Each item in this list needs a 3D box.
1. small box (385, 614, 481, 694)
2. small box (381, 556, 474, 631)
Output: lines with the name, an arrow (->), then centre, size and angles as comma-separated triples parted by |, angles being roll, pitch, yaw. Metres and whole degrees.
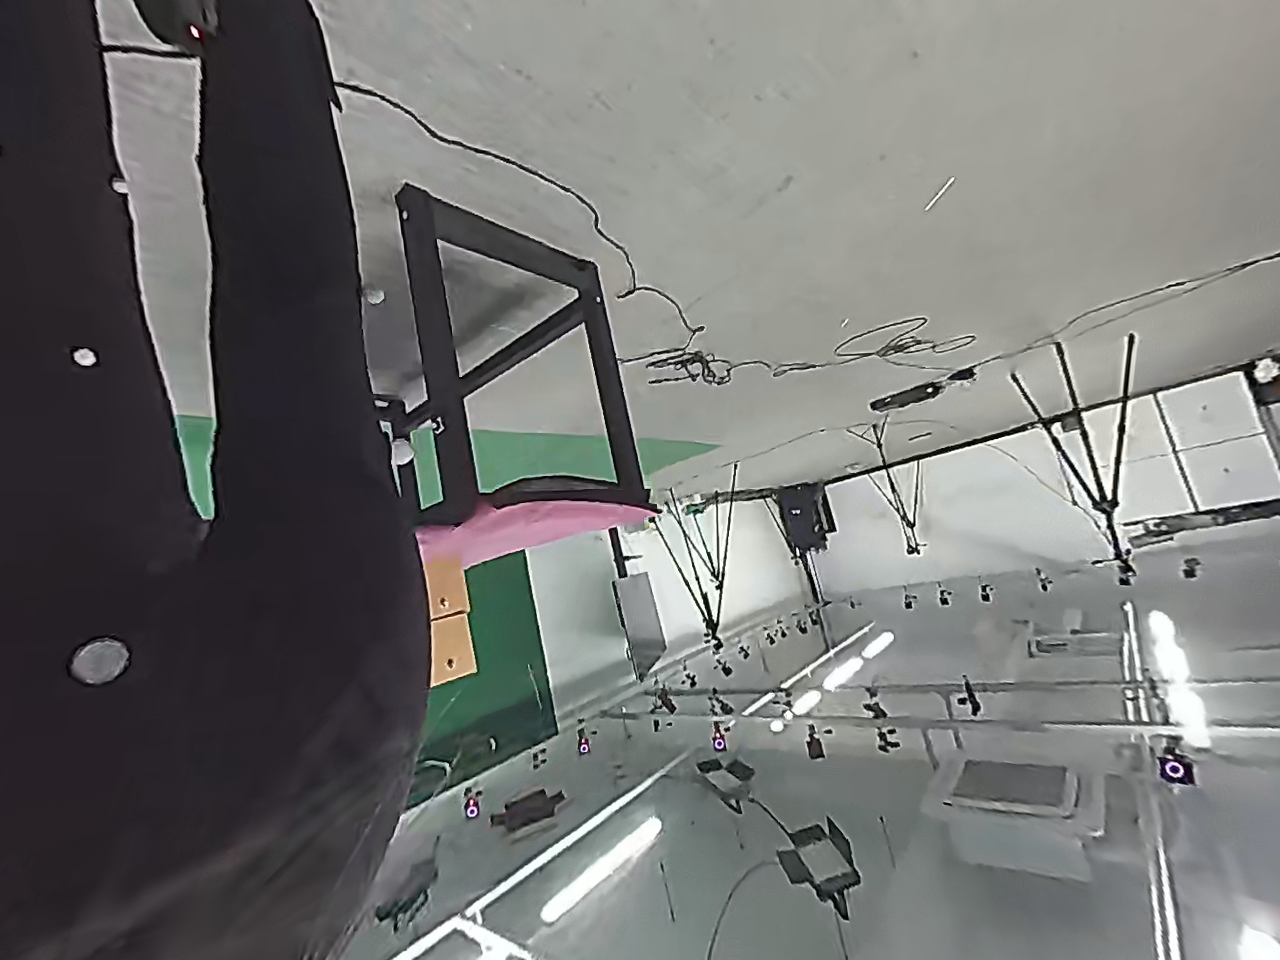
small box -> -0.569, 0.472, 1.482 | 0.168, 0.176, 0.179 | -21, 168, 35
small box -> -0.600, 0.315, 1.523 | 0.168, 0.176, 0.179 | -20, 168, 34
